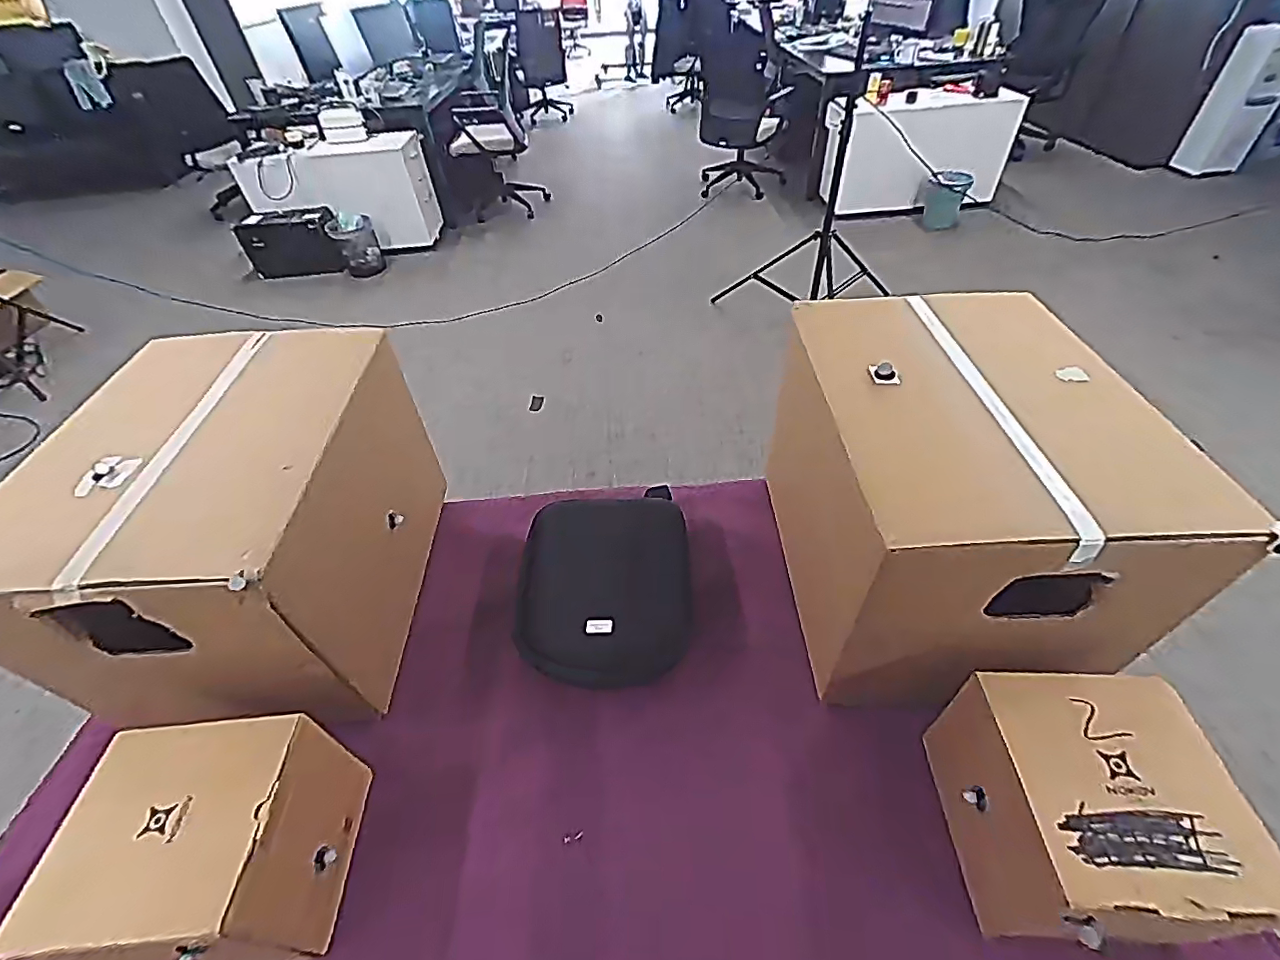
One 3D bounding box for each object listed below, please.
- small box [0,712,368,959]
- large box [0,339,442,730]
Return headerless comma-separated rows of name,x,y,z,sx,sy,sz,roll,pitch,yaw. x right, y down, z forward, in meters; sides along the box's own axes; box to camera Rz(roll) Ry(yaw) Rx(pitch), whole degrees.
small box,-0.396,0.345,0.513,0.179,0.176,0.168,-6,44,-2
large box,-0.478,0.063,0.700,0.320,0.320,0.408,-4,47,-1
